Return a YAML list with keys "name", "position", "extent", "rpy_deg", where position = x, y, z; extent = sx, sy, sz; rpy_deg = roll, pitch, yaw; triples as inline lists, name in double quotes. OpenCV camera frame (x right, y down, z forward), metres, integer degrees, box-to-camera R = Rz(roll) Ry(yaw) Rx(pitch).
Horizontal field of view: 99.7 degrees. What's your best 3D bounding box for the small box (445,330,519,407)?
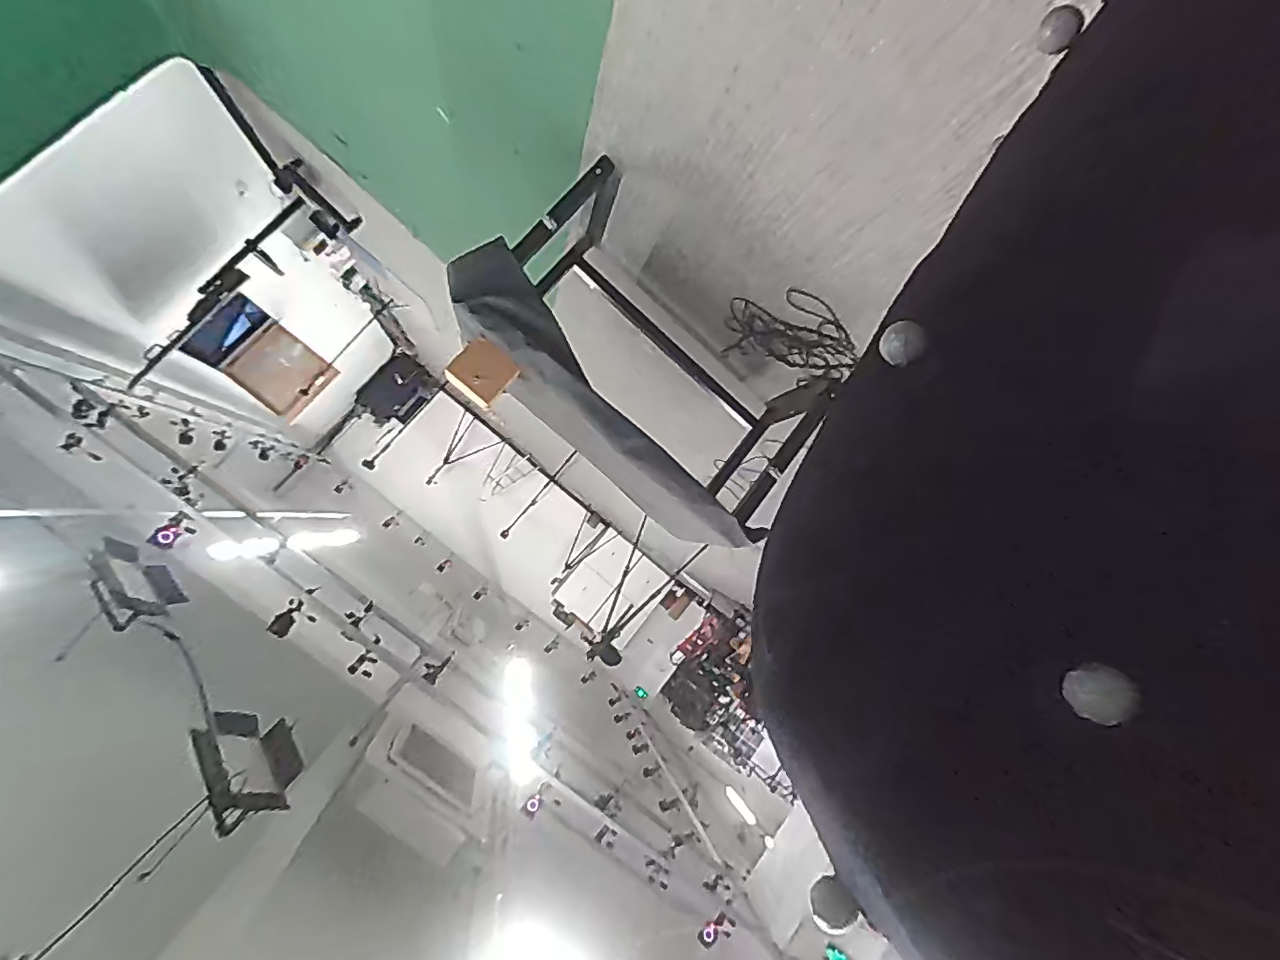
- name: "small box"
  position: [-0.528, -0.372, 1.819]
  extent: [0.179, 0.176, 0.168]
  rpy_deg: [42, 167, -13]
